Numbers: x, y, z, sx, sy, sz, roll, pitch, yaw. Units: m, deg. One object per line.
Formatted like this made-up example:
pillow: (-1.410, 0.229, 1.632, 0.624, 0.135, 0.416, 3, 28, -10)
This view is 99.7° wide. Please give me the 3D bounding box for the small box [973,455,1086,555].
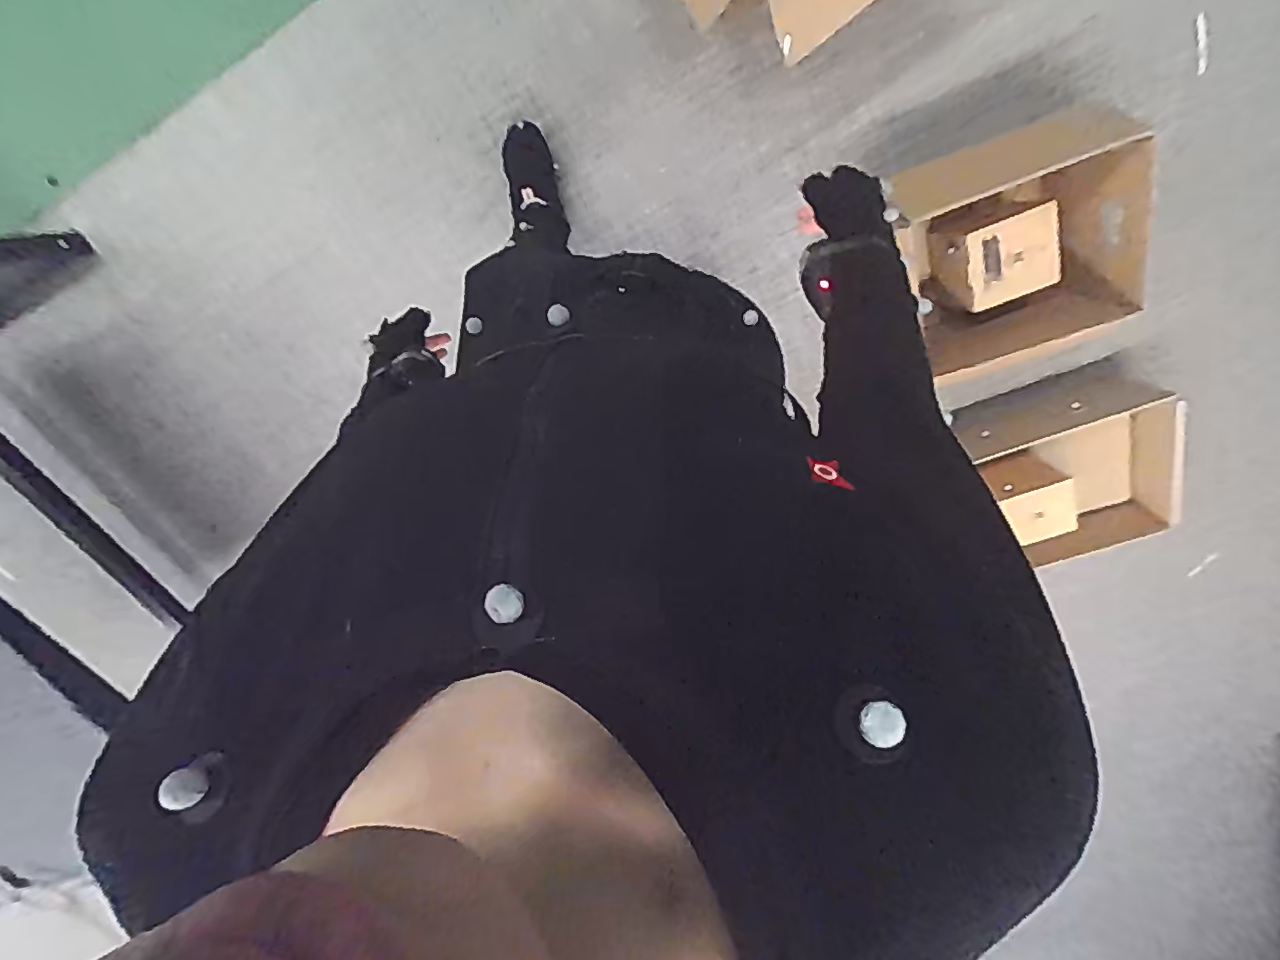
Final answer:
small box: (1.006, 0.059, 1.405, 0.179, 0.176, 0.168, -21, 116, 12)
